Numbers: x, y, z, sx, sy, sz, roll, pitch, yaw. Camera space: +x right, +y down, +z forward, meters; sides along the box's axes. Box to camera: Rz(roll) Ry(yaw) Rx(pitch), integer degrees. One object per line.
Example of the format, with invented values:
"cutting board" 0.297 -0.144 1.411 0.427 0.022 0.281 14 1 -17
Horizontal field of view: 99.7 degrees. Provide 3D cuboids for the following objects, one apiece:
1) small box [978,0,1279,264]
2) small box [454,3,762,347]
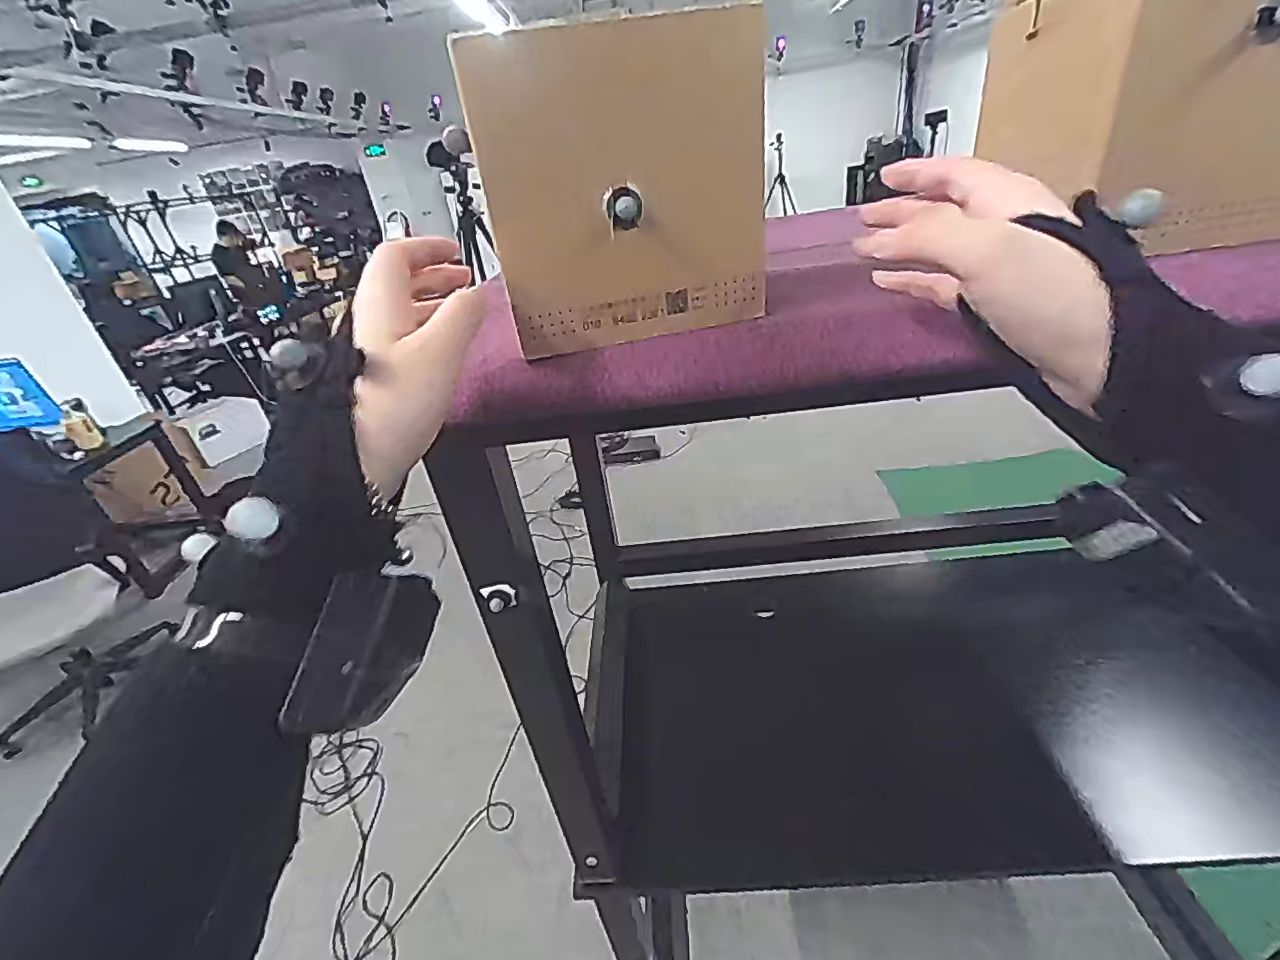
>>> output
"small box" 0.374 -0.261 0.389 0.179 0.176 0.168 -5 30 5
"small box" -0.020 -0.201 0.385 0.168 0.176 0.179 -11 31 -7
